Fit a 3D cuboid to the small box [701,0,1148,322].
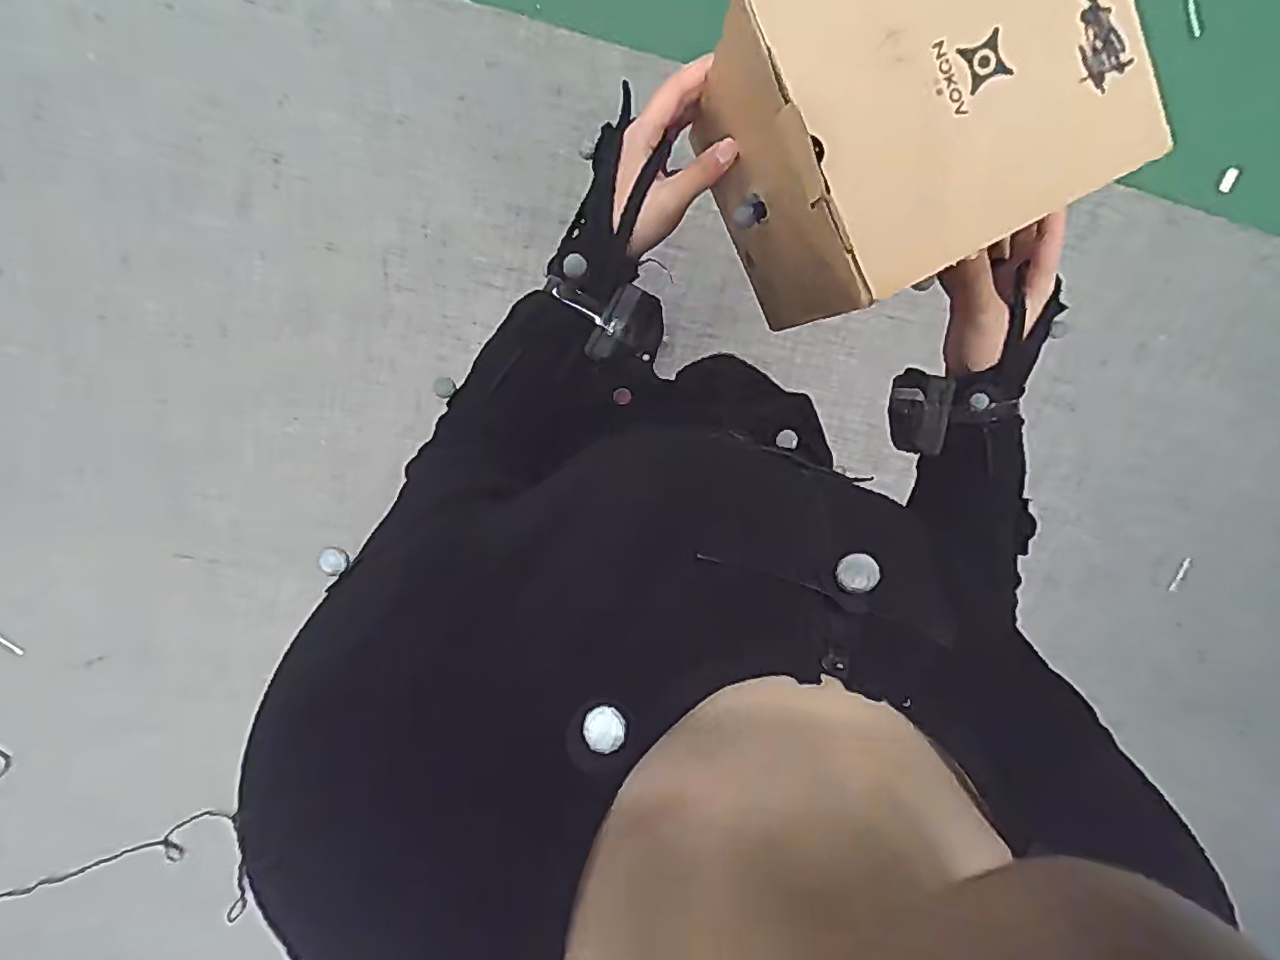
[{"bbox_3d":[0.150,-0.218,0.351,0.179,0.176,0.168,-27,101,2],"label":"small box"}]
